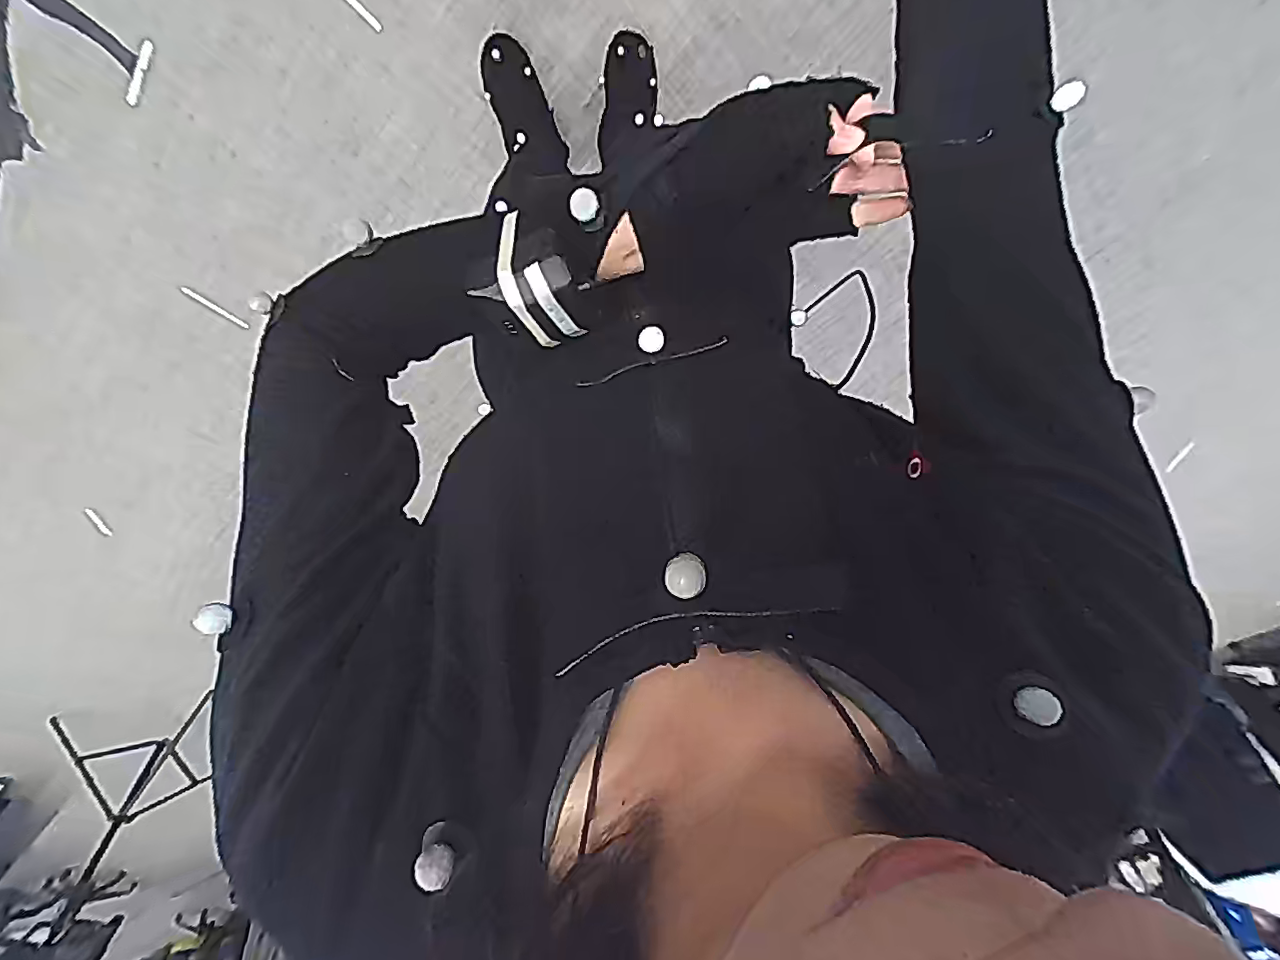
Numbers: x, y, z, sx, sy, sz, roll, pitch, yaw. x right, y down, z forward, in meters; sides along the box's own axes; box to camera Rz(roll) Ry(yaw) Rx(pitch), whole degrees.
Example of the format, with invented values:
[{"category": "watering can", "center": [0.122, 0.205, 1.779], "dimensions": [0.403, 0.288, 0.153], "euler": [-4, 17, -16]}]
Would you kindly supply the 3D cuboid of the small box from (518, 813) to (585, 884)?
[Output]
[{"category": "small box", "center": [-0.312, 1.314, 1.932], "dimensions": [0.179, 0.176, 0.168], "euler": [34, 122, -30]}]
